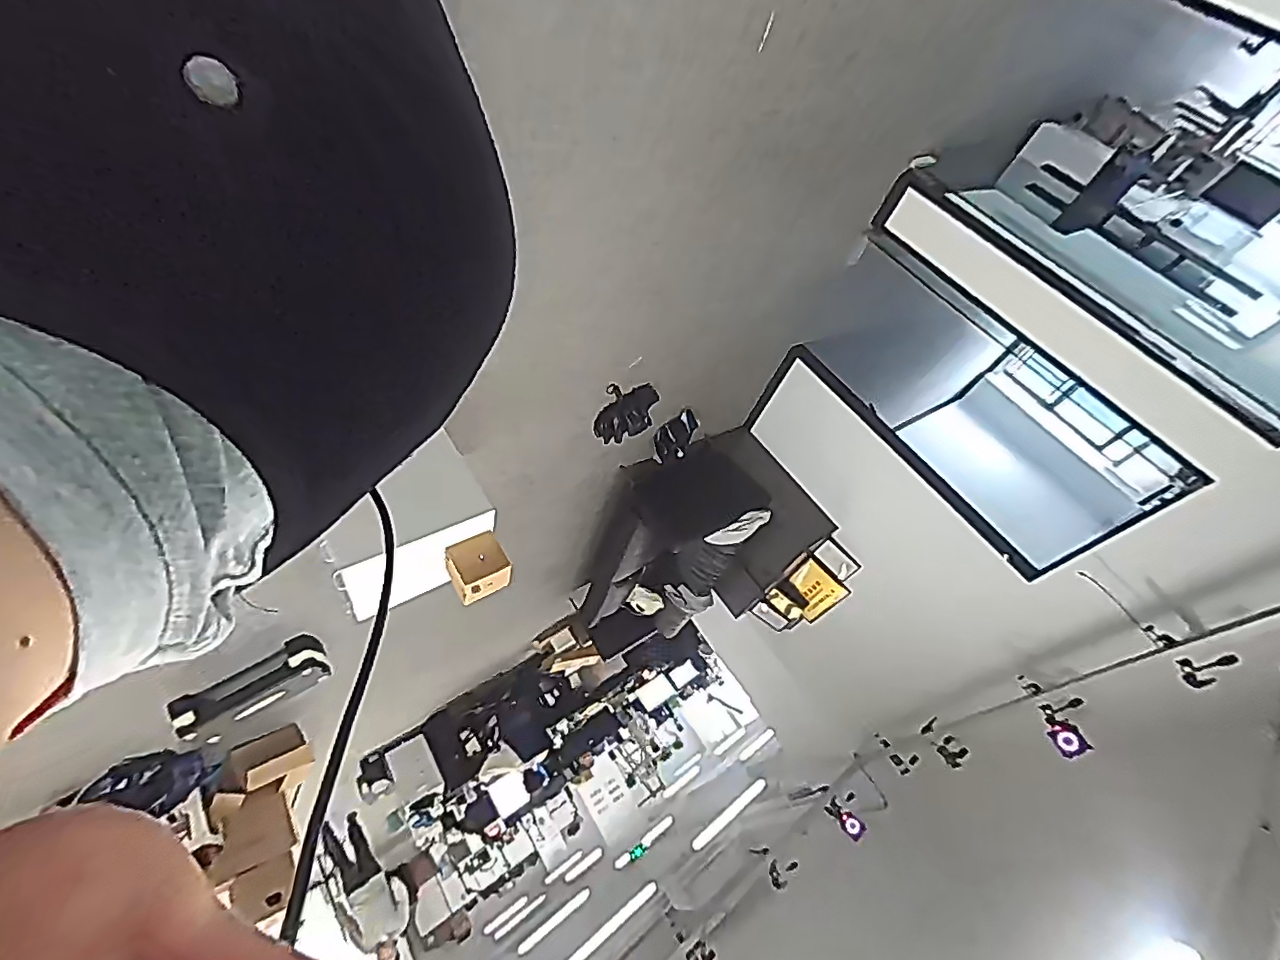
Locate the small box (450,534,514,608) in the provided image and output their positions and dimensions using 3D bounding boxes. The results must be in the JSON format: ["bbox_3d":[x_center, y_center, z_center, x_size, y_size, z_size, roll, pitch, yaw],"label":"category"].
[{"bbox_3d":[-0.580,0.327,1.967,0.179,0.176,0.168,-24,155,-31],"label":"small box"}]
